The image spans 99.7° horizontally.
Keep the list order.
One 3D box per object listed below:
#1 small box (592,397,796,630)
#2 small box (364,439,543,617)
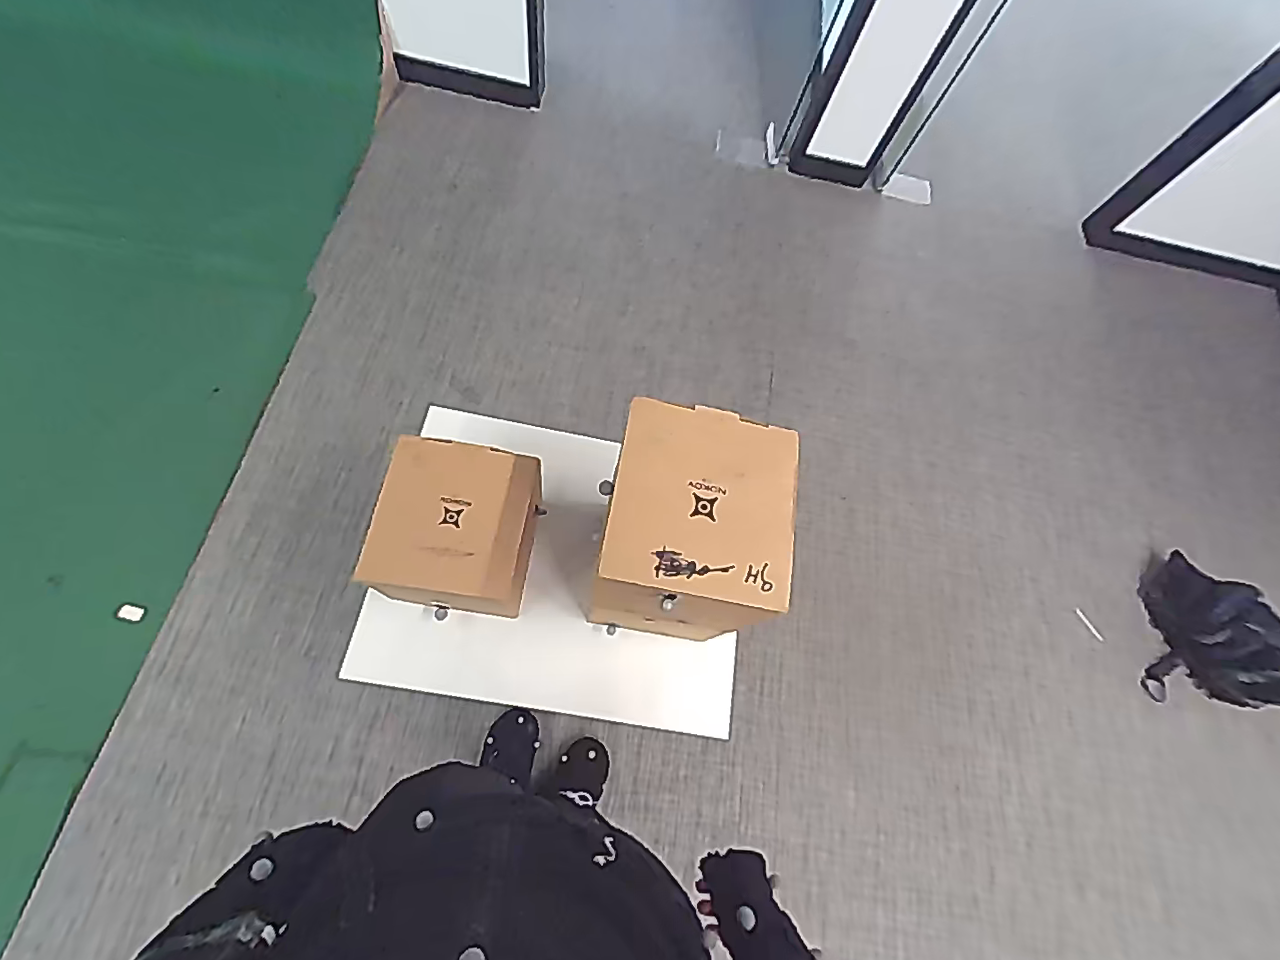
[{"bbox_3d":[0.046,0.045,0.555,0.168,0.176,0.179,11,68,-3],"label":"small box"},{"bbox_3d":[-0.218,0.070,0.687,0.168,0.176,0.179,8,70,-4],"label":"small box"}]
